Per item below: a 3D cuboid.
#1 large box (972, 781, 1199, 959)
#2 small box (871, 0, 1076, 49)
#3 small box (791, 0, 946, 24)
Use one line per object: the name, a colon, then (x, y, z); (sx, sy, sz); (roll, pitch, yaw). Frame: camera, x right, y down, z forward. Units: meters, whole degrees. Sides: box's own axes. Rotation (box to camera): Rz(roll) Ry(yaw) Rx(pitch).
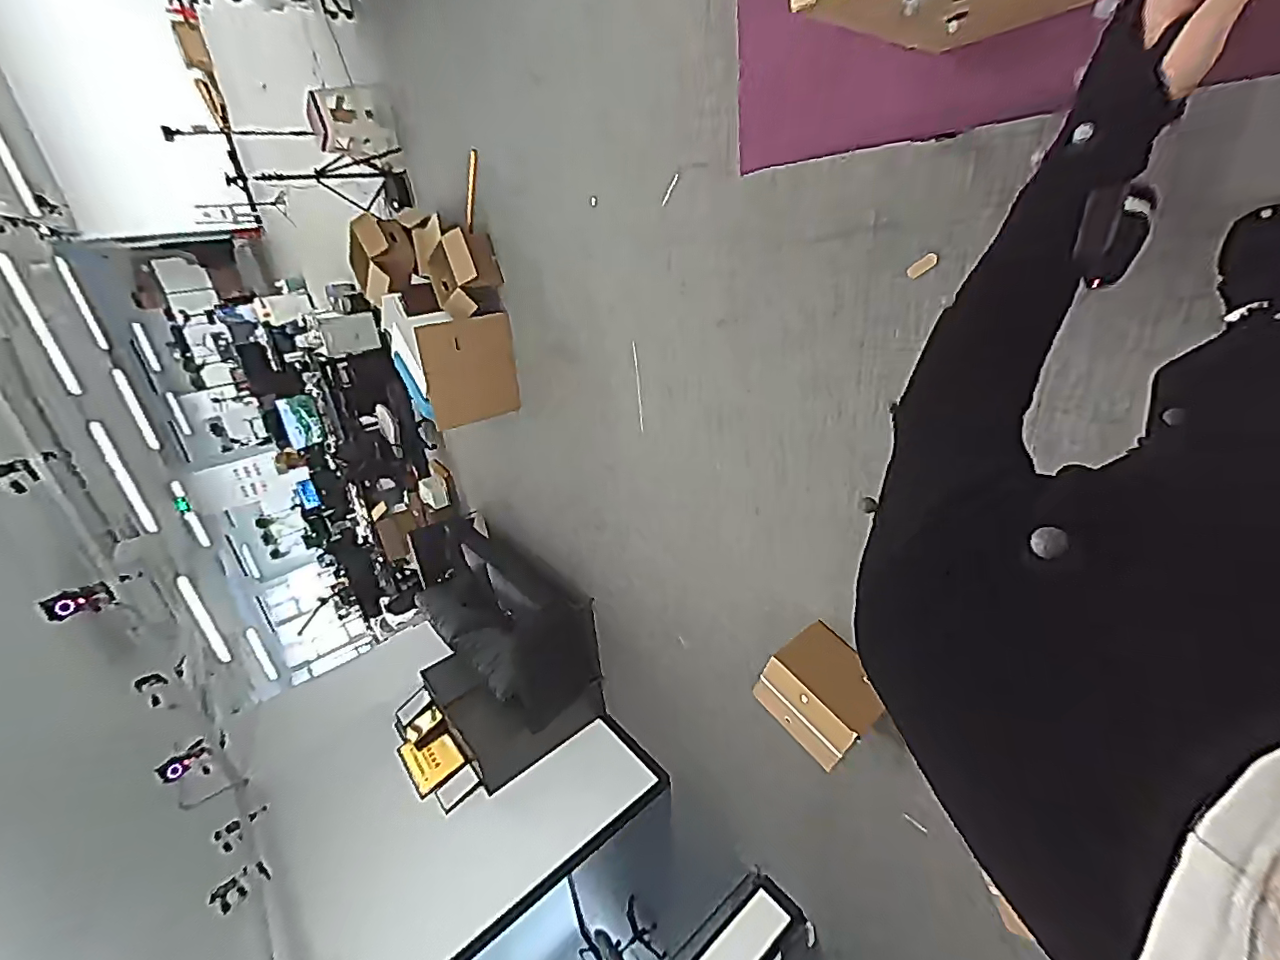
large box: (1.309, 1.164, 1.608); (0.408, 0.320, 0.320); (-24, 90, 56)
small box: (0.385, -0.609, 0.597); (0.179, 0.176, 0.168); (20, 124, 47)
small box: (0.259, -0.560, 0.504); (0.168, 0.176, 0.179); (21, 126, 46)
